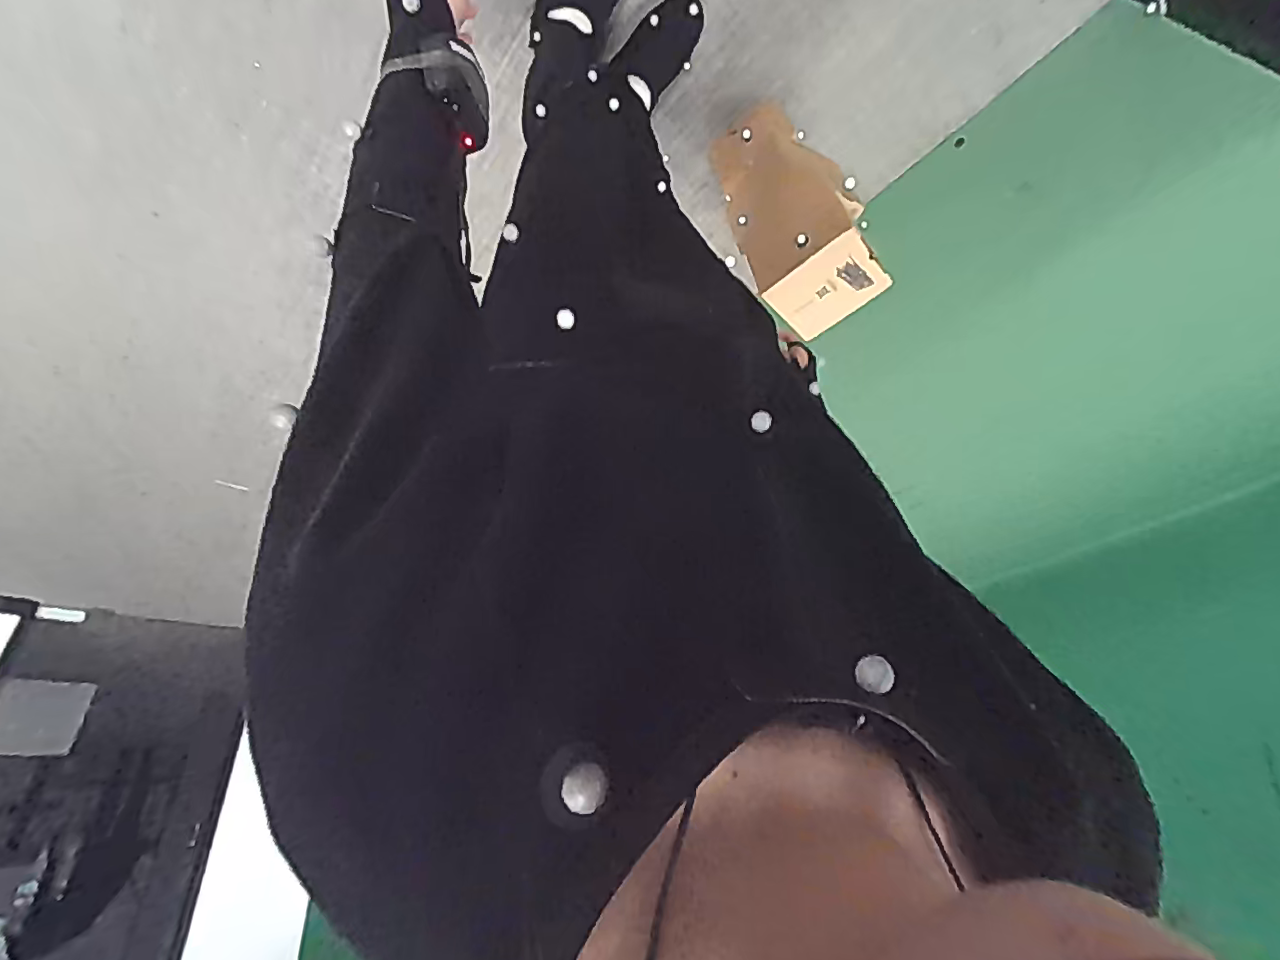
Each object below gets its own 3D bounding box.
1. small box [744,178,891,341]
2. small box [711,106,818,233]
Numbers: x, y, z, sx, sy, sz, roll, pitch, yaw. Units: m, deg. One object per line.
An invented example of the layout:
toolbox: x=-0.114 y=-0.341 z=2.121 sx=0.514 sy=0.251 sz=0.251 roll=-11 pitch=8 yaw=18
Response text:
small box: x=0.314 y=-0.398 z=0.980 sx=0.179 sy=0.176 sz=0.168 roll=-32 pitch=140 yaw=32
small box: x=0.272 y=-0.664 z=1.168 sx=0.168 sy=0.176 sz=0.179 roll=-26 pitch=141 yaw=26
